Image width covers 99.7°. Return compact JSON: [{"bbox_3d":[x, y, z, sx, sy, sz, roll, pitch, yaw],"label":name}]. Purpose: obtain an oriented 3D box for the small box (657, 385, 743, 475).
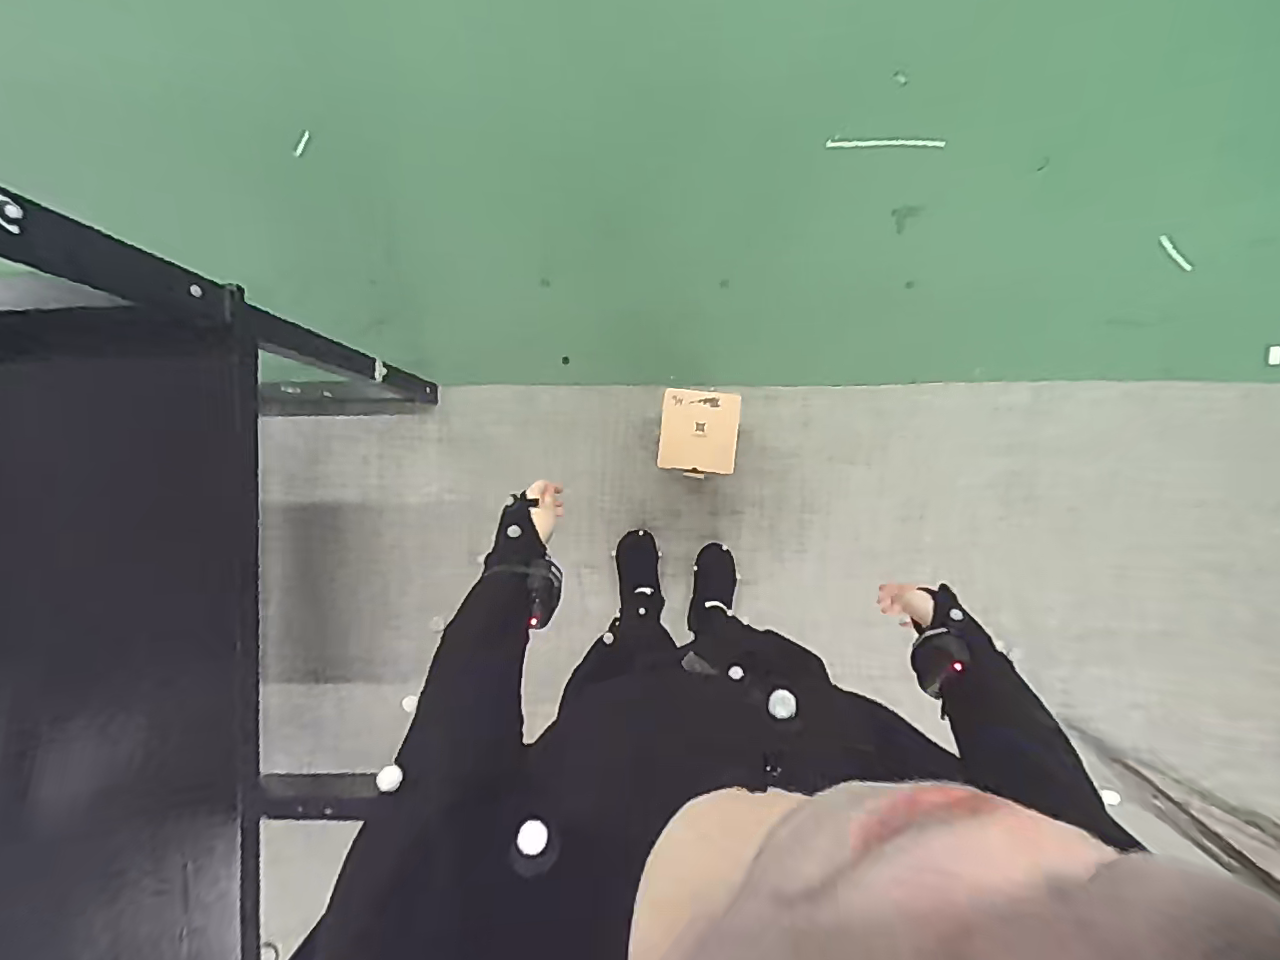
[{"bbox_3d":[0.133,-0.107,1.218,0.168,0.176,0.179,6,90,3],"label":"small box"}]
